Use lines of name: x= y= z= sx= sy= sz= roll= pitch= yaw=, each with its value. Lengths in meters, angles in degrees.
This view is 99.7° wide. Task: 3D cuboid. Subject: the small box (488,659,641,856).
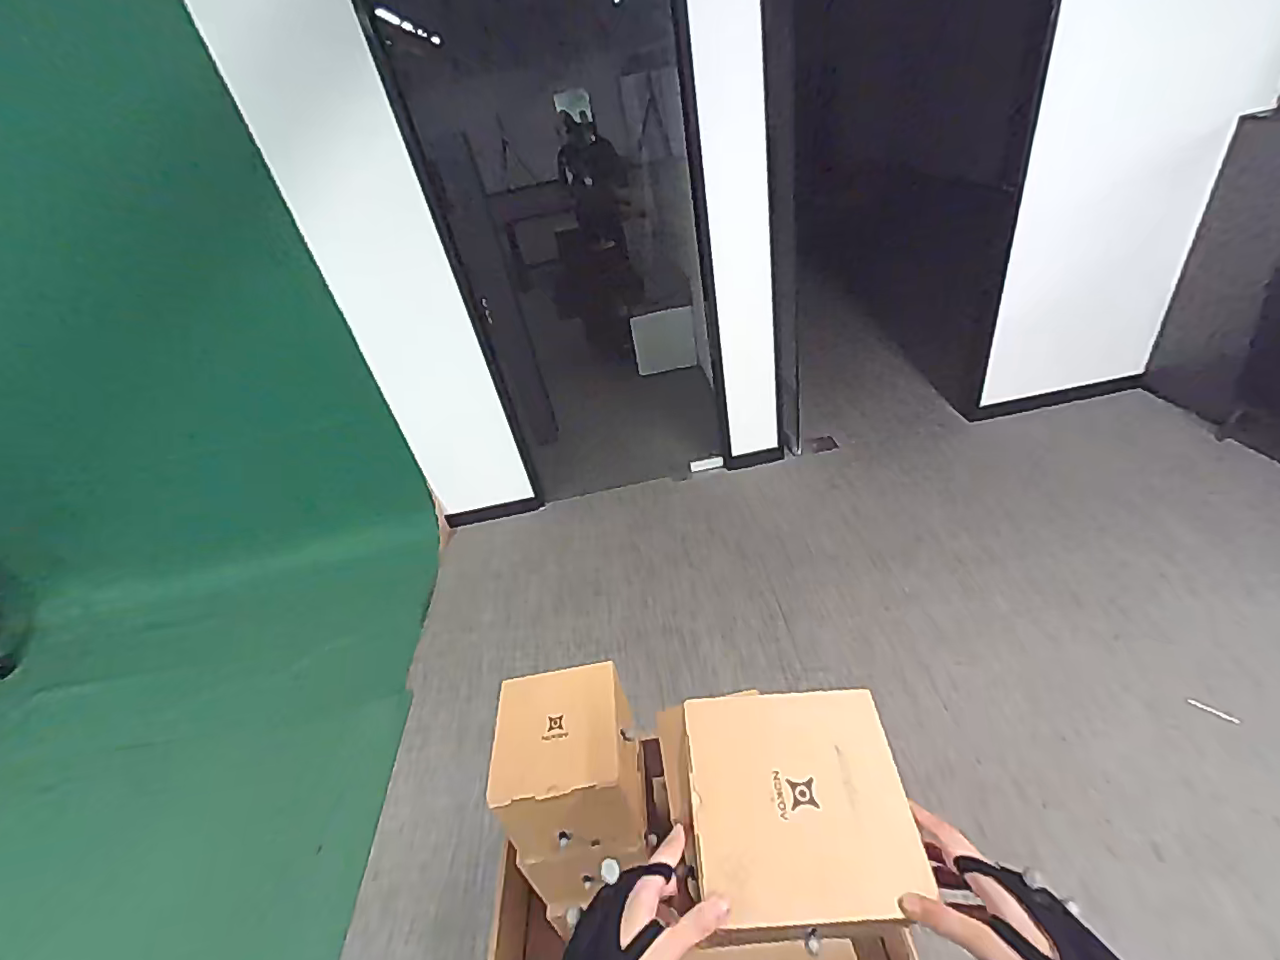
small box: x=-0.096 y=0.386 z=0.758 sx=0.168 sy=0.176 sz=0.179 roll=-11 pitch=35 yaw=1
